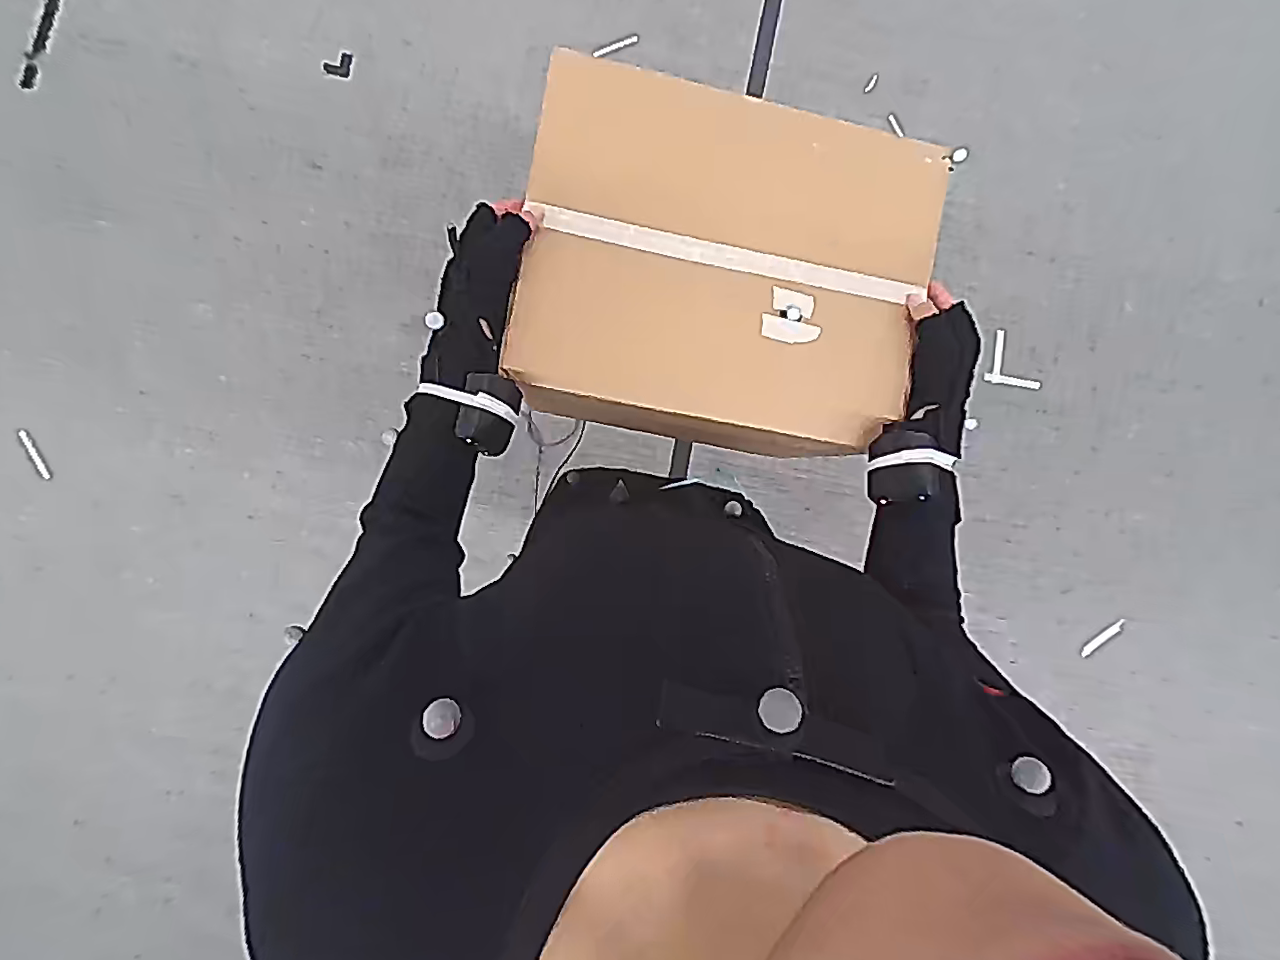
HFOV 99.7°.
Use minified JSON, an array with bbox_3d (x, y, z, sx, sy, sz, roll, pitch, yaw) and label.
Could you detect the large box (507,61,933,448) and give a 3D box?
[{"bbox_3d":[0.069,-0.225,0.685,0.408,0.320,0.320,10,92,-7],"label":"large box"}]
